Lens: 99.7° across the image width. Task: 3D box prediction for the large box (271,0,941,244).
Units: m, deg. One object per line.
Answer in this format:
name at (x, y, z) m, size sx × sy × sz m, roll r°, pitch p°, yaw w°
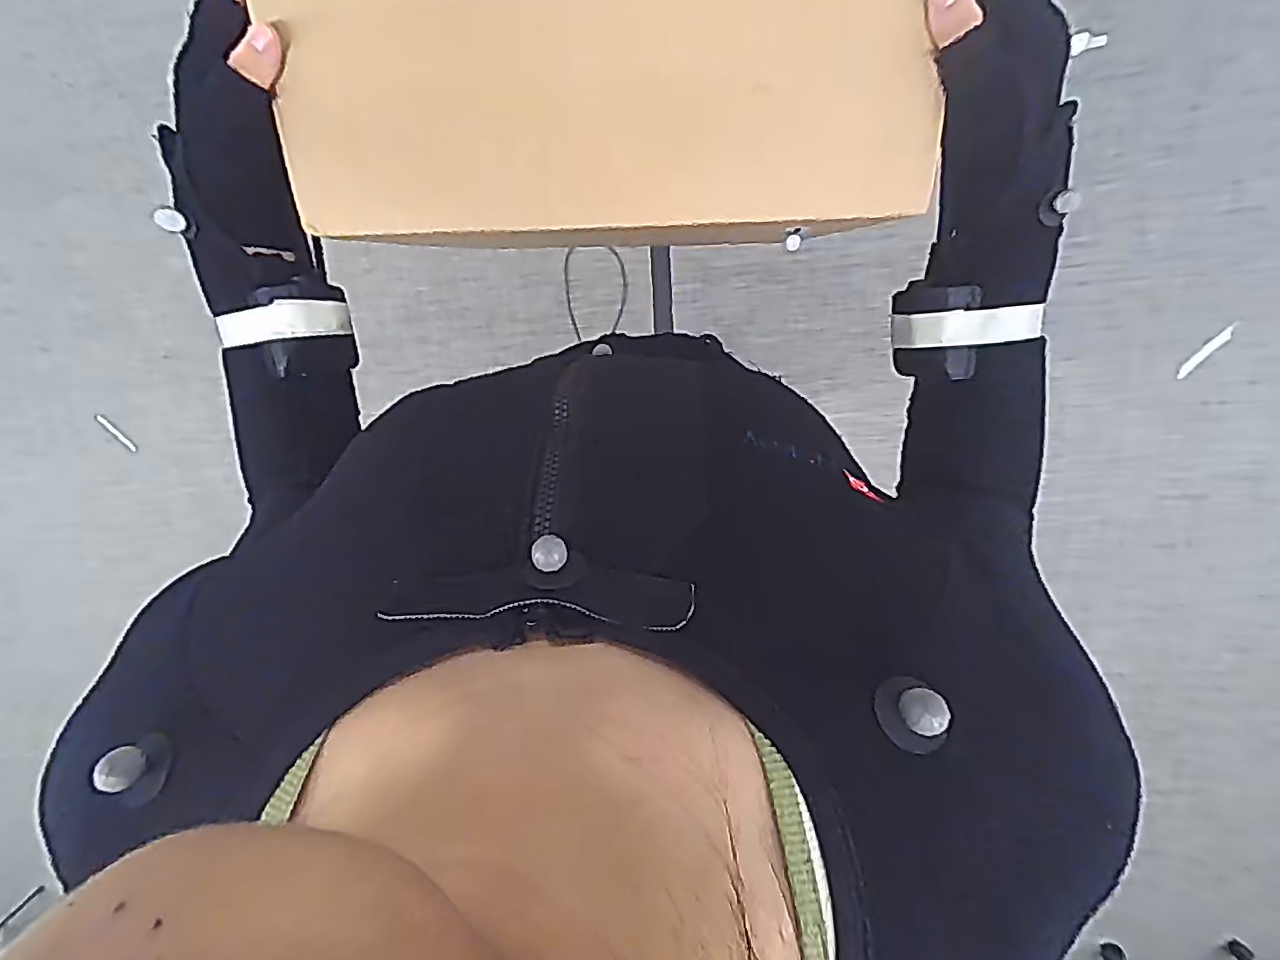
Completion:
large box at (-0.017, -0.371, 0.444) m, size 0.408 × 0.320 × 0.320 m, roll -1°, pitch 111°, yaw 3°
